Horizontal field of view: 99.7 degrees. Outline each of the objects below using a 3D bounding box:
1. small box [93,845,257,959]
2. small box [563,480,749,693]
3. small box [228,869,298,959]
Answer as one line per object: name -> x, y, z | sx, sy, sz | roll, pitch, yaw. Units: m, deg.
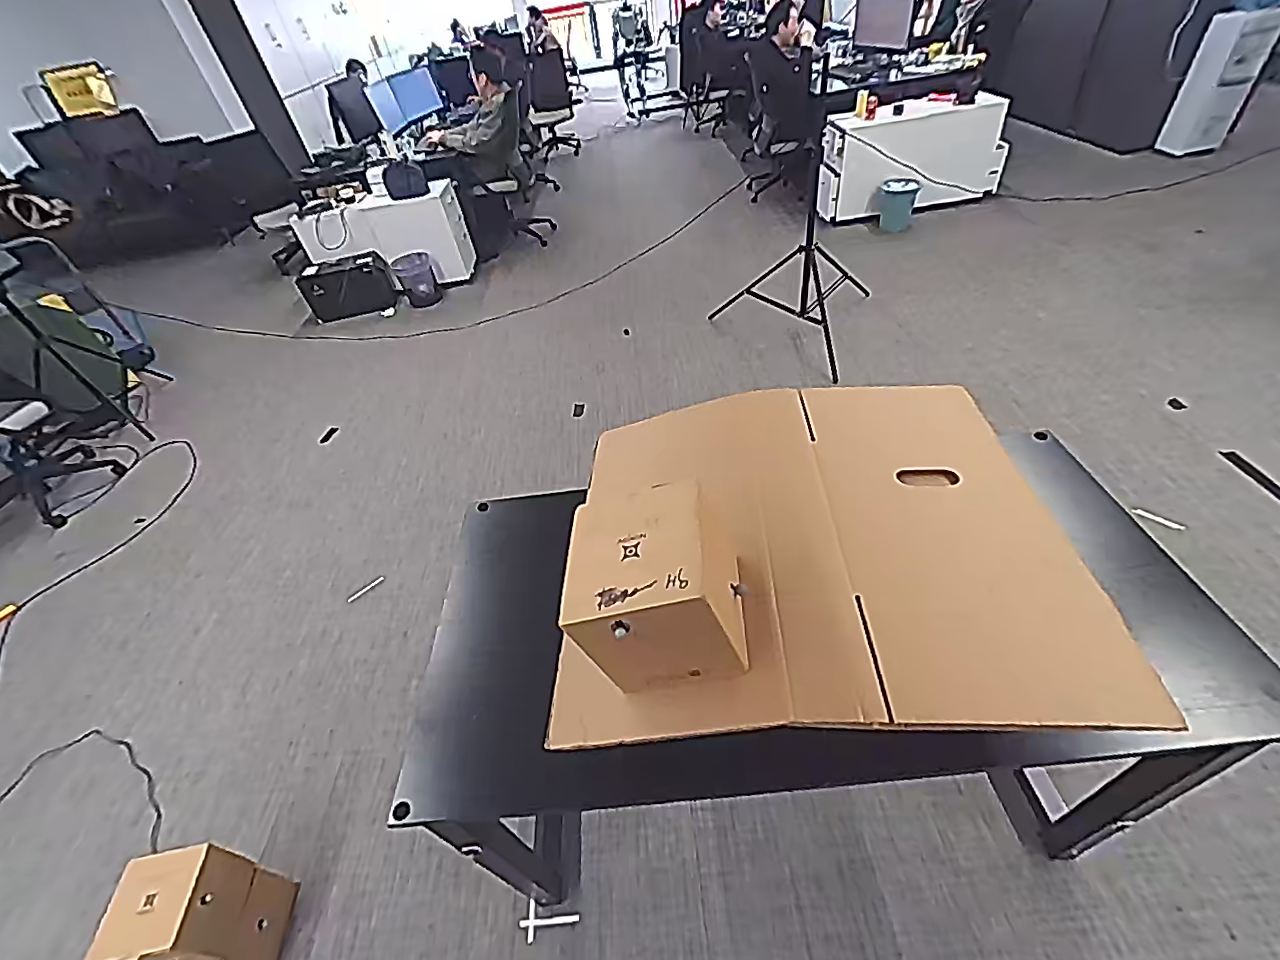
small box -> -0.936, 0.888, 1.111 | 0.168, 0.176, 0.179 | -12, 41, -3
small box -> 0.027, 0.133, 0.664 | 0.168, 0.176, 0.179 | -16, 40, 17
small box -> -0.912, 1.010, 1.216 | 0.168, 0.176, 0.179 | -10, 43, 0
